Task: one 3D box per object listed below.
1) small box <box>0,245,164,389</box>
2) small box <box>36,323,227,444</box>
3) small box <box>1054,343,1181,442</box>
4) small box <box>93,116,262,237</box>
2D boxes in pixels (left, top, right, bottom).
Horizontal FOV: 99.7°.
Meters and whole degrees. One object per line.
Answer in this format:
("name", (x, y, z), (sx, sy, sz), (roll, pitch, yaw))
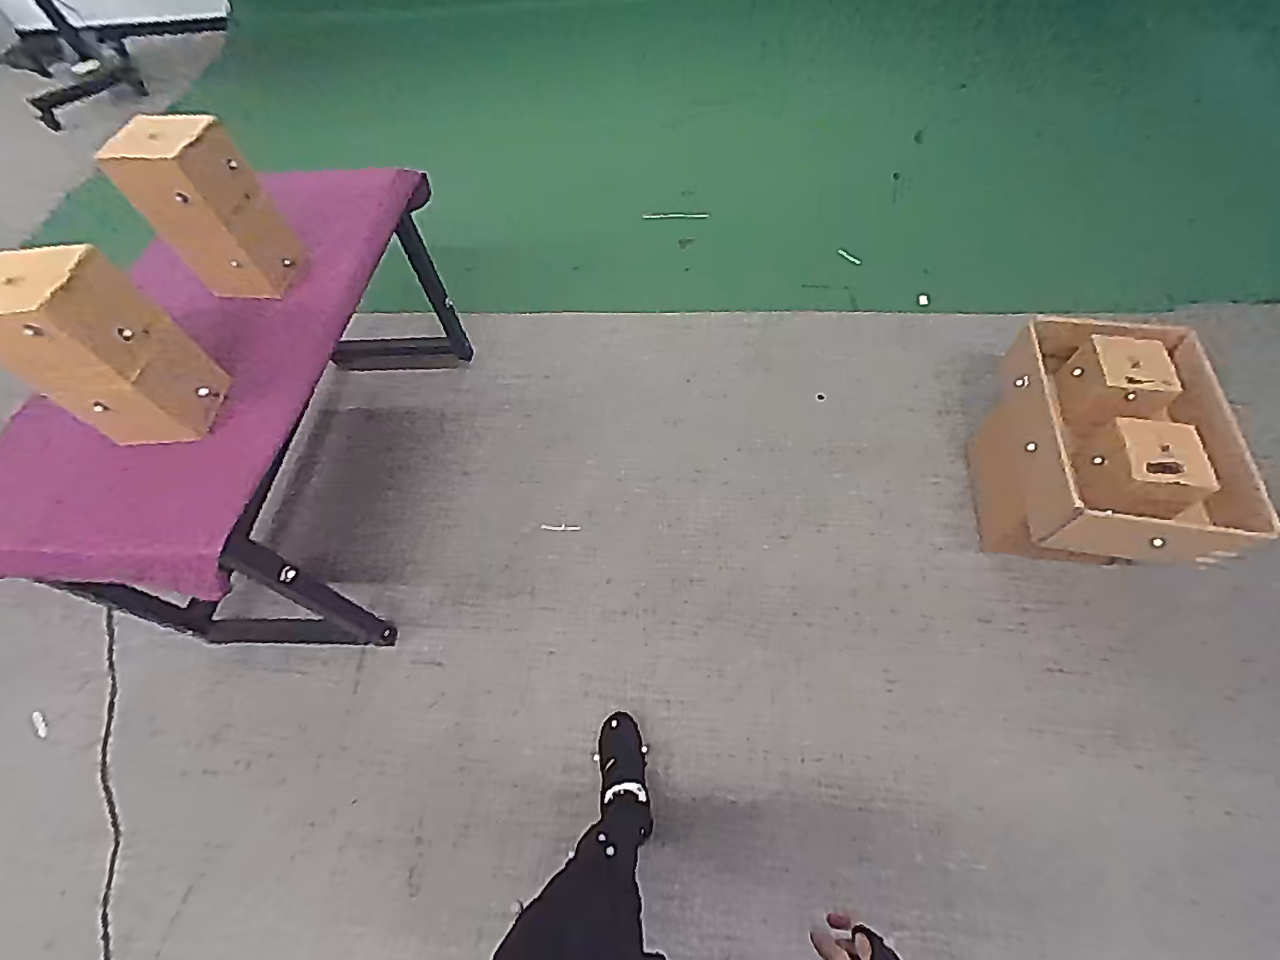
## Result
("small box", (-0.983, -0.270, 0.916), (0.179, 0.176, 0.168), (-4, 58, 1))
("small box", (-0.970, -0.182, 1.052), (0.179, 0.176, 0.168), (-2, 59, 2))
("small box", (1.216, -0.224, 1.396), (0.168, 0.176, 0.179), (8, 58, 8))
("small box", (-0.953, -0.633, 1.137), (0.179, 0.176, 0.168), (3, 58, 6))
